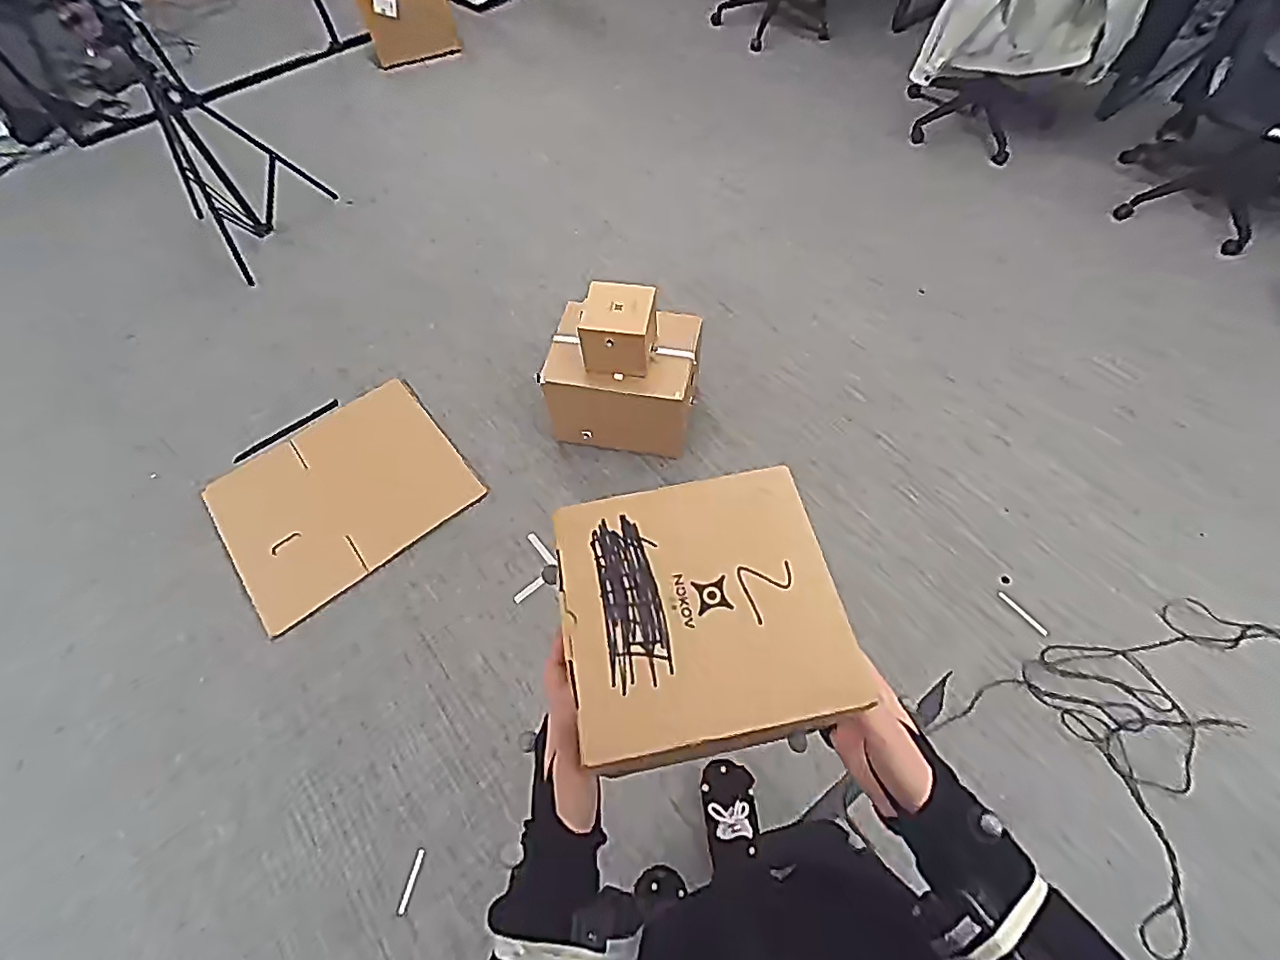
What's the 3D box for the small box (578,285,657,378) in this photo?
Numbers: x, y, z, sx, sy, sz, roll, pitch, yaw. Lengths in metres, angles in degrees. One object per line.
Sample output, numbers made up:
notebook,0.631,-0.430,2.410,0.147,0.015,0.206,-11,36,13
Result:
small box,-0.052,-0.391,1.438,0.179,0.176,0.168,8,63,6
